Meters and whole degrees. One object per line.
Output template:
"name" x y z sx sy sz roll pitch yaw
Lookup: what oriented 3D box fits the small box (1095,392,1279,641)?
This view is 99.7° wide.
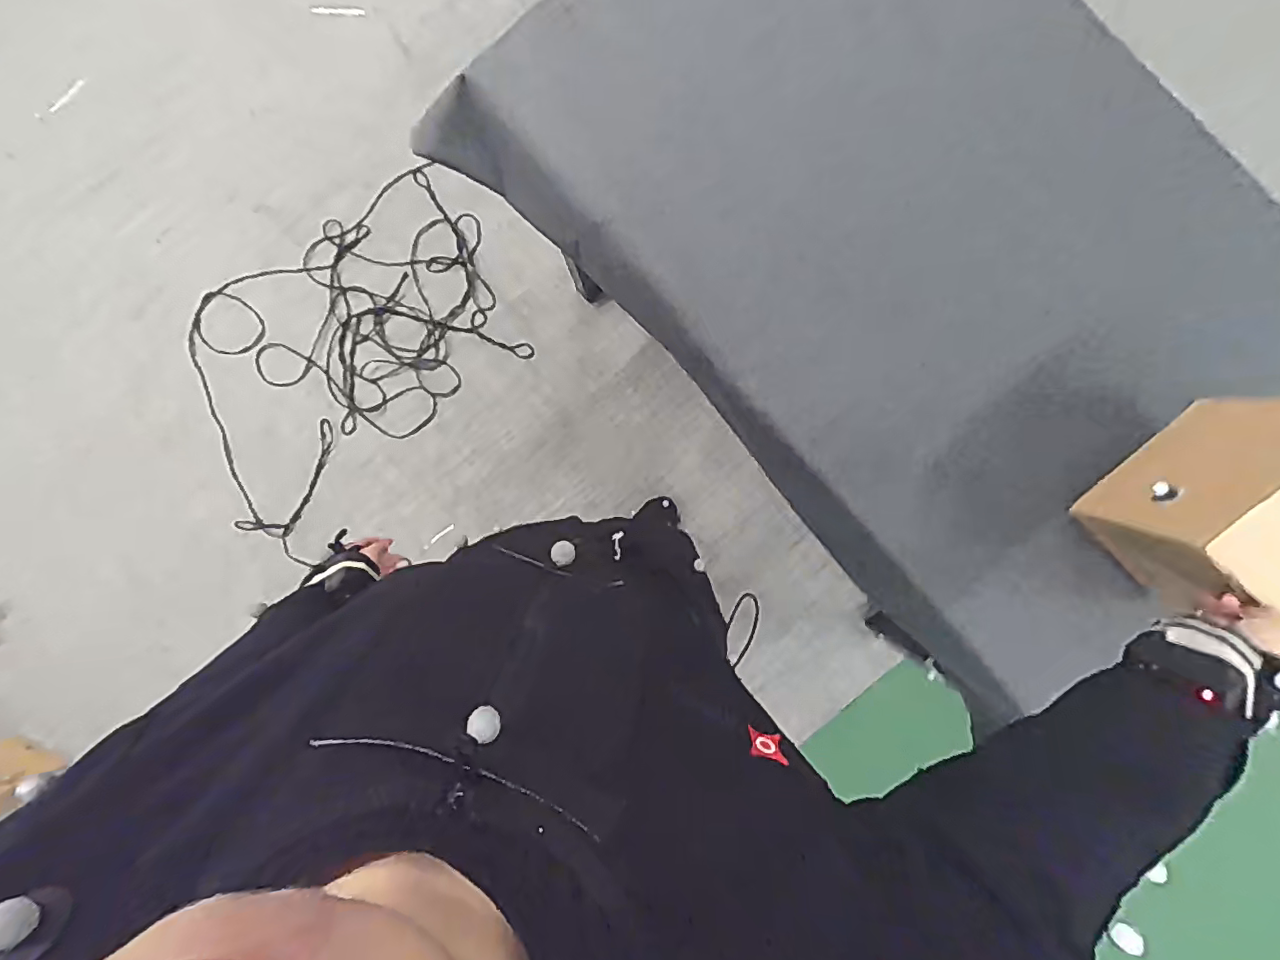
"small box" 0.591 0.034 0.511 0.168 0.176 0.179 43 100 -3
